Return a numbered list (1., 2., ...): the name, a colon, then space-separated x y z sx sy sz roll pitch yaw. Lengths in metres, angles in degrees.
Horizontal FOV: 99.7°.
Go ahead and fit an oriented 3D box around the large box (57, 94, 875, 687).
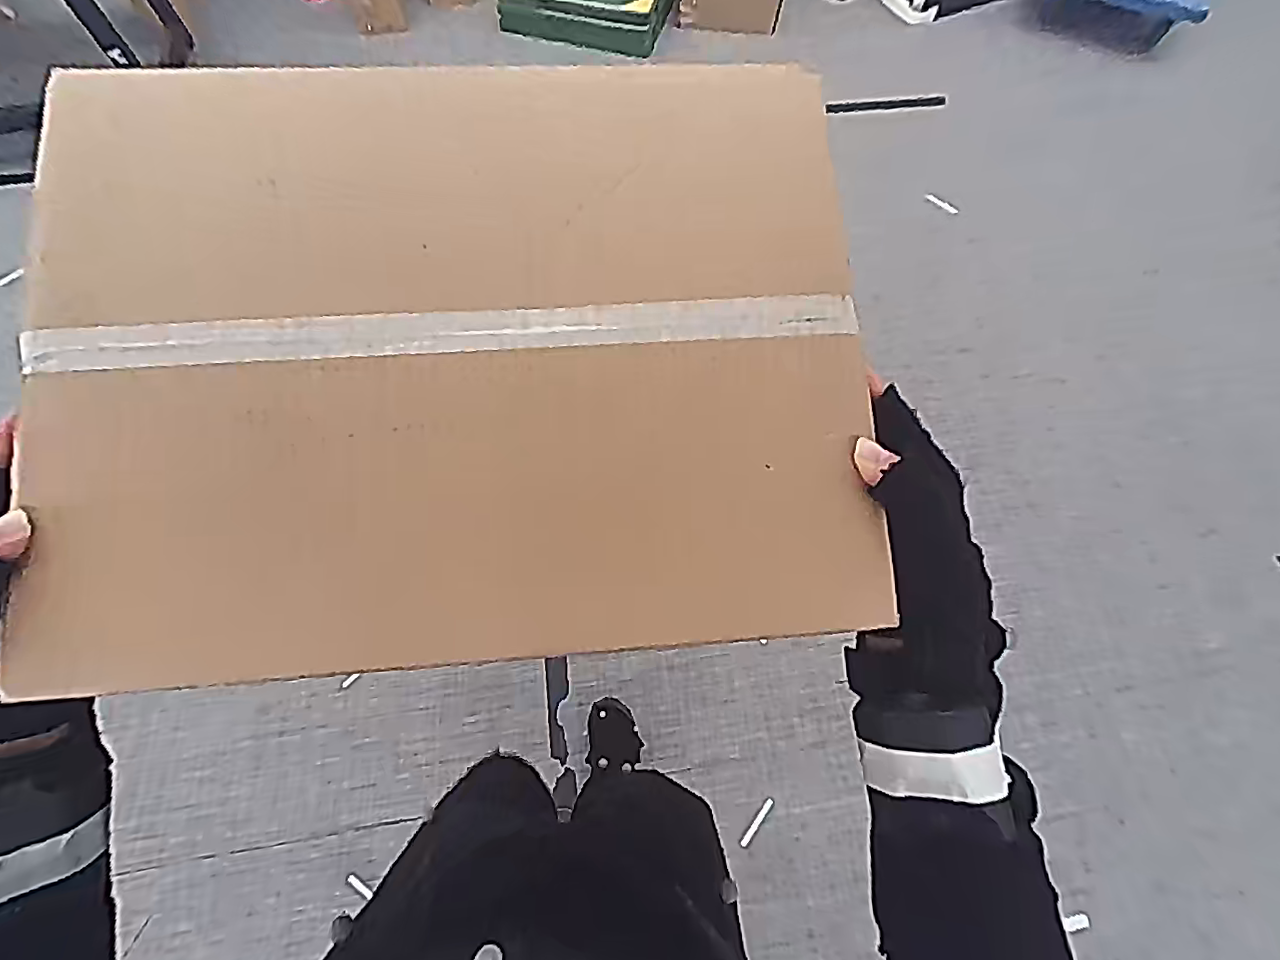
1. large box: -0.097 -0.044 0.435 0.408 0.320 0.320 -4 82 -4
